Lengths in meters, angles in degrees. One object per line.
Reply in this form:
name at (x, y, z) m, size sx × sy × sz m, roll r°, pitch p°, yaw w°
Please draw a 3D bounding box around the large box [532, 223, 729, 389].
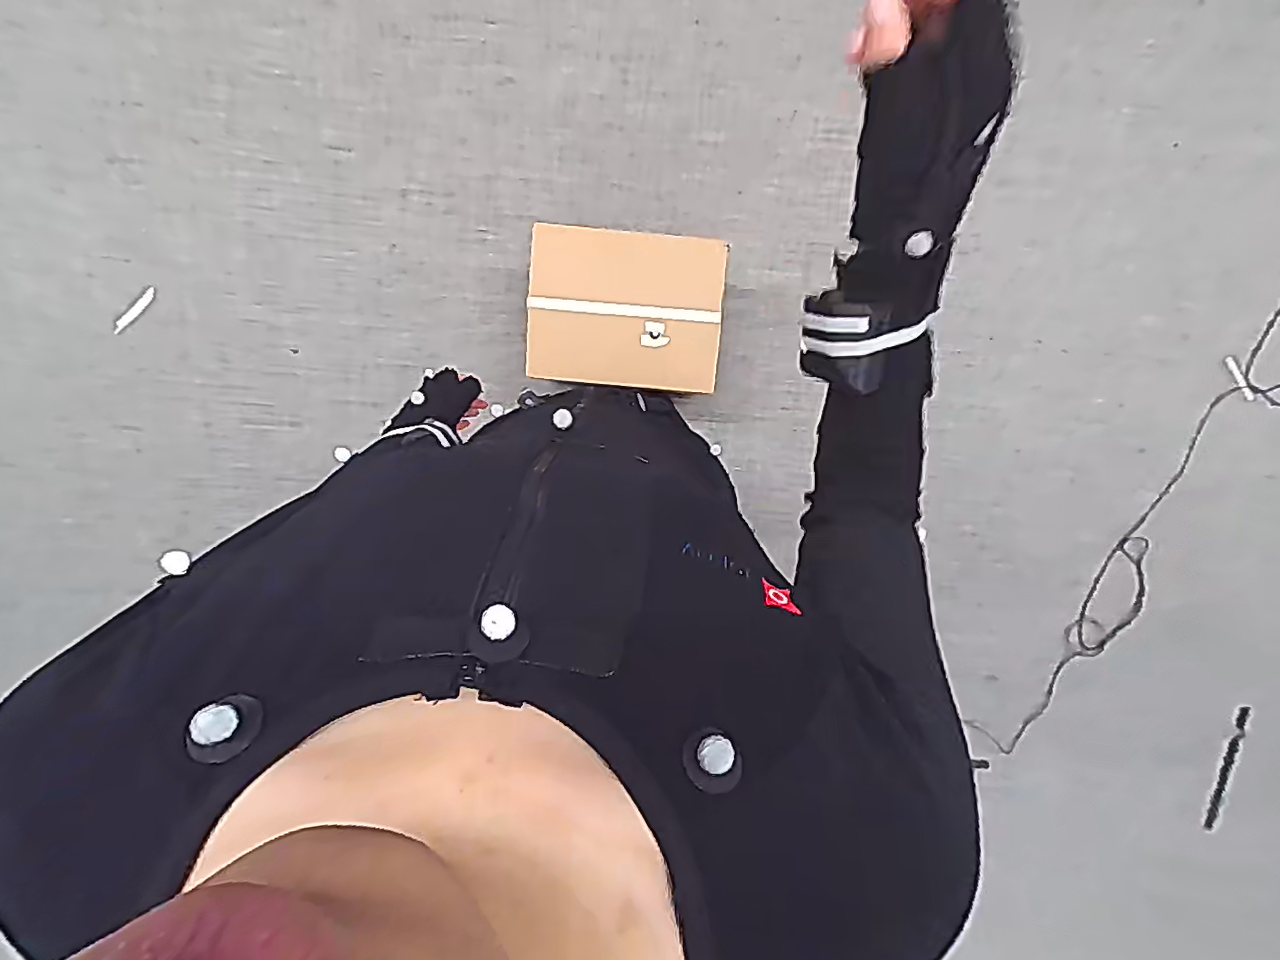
large box at (-0.026, -0.385, 1.276) m, size 0.408 × 0.320 × 0.320 m, roll 4°, pitch 100°, yaw -1°
